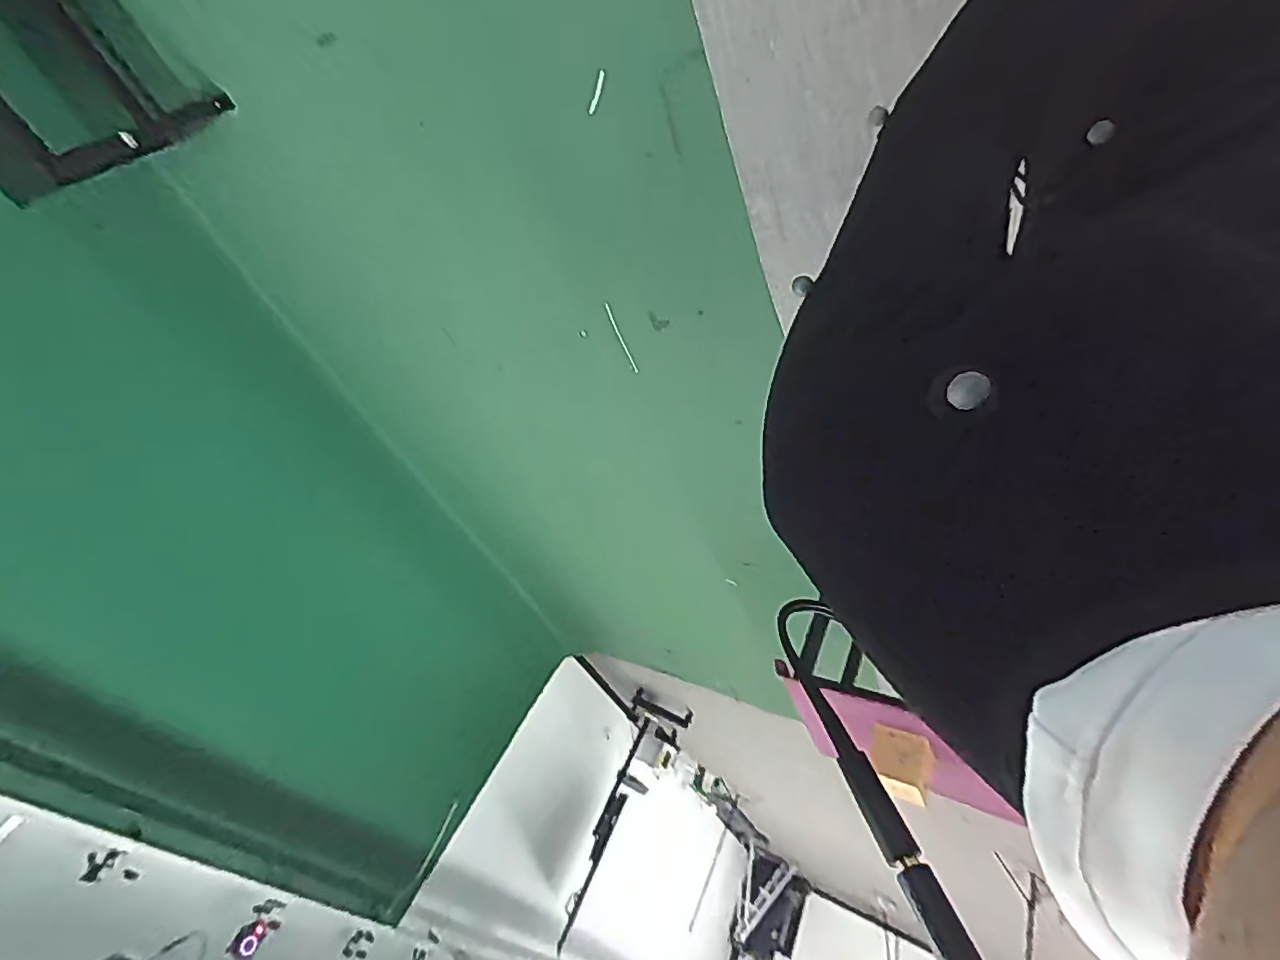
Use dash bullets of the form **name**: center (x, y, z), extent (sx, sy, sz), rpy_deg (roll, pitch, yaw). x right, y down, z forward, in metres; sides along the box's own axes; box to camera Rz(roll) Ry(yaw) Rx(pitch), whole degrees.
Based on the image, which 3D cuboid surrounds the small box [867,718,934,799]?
- **small box**: center (0.876, 0.925, 1.808), extent (0.168, 0.176, 0.179), rpy_deg (1, 137, 39)
